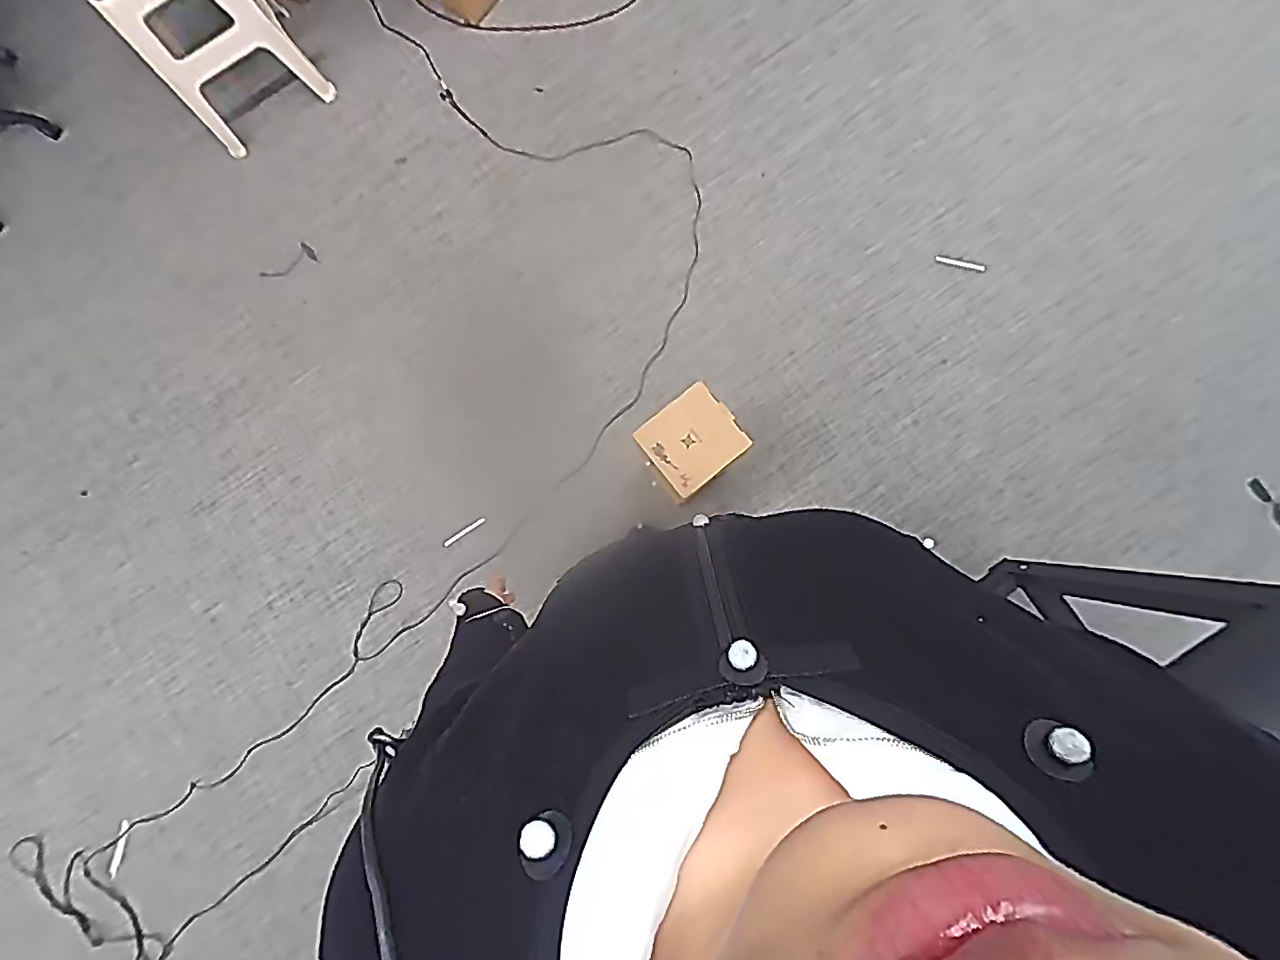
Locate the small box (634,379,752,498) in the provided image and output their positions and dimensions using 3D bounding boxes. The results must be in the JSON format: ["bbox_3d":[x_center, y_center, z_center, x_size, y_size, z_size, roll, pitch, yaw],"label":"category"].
[{"bbox_3d":[0.105,-0.078,1.131,0.179,0.176,0.168,-39,84,-2],"label":"small box"}]

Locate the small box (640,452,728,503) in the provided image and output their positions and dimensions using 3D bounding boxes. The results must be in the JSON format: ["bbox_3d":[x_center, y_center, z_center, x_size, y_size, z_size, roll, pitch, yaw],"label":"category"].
[{"bbox_3d":[0.118,-0.054,1.456,0.179,0.176,0.168,-38,83,0],"label":"small box"}]
